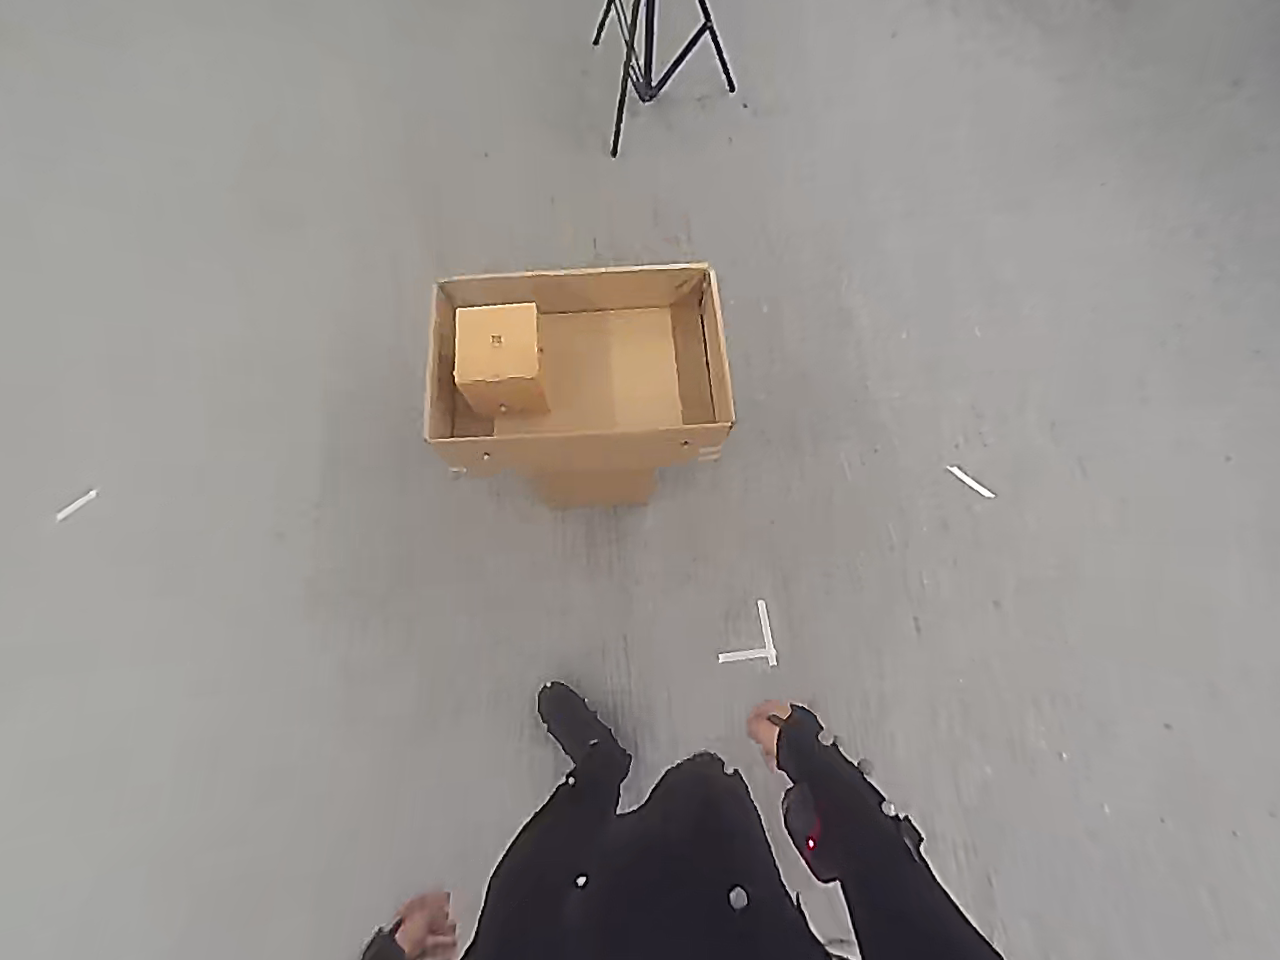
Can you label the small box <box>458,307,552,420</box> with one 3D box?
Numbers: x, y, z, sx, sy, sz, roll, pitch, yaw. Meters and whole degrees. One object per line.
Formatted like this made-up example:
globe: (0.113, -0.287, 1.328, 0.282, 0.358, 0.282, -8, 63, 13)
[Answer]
small box: (-0.285, -0.247, 1.166, 0.168, 0.176, 0.179, -5, 72, -2)
